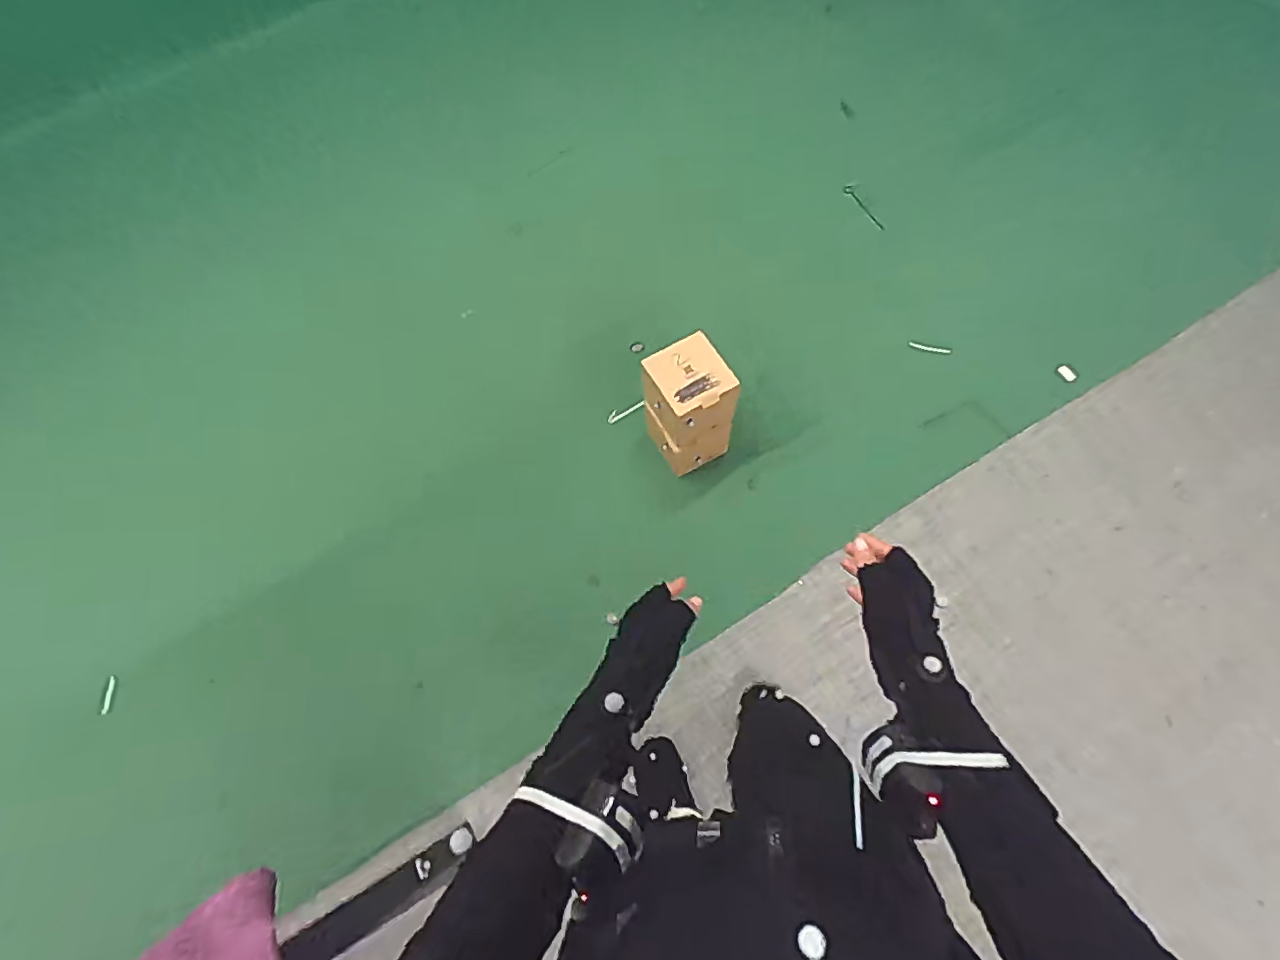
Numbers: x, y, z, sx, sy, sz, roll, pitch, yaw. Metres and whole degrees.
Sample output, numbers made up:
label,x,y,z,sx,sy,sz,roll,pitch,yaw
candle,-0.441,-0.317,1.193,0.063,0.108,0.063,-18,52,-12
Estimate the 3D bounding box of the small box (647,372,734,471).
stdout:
label,x,y,z,sx,sy,sz,roll,pitch,yaw
small box,0.132,-0.153,1.461,0.168,0.176,0.179,-28,70,-7
